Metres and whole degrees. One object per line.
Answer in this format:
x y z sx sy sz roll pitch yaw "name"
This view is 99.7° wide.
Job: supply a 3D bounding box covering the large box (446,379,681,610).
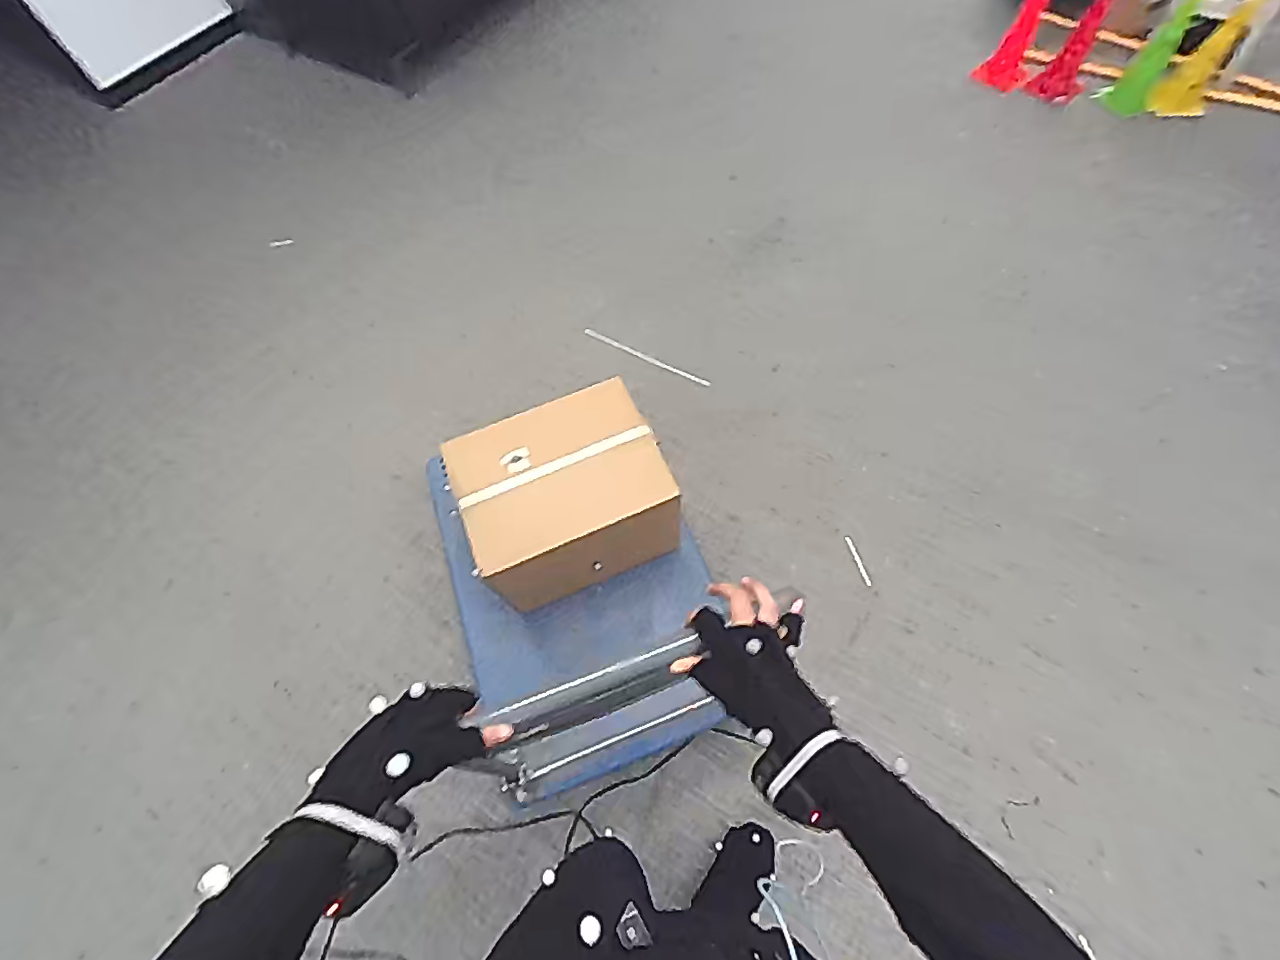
-0.151 0.044 1.213 0.408 0.320 0.320 -23 64 -6 "large box"
